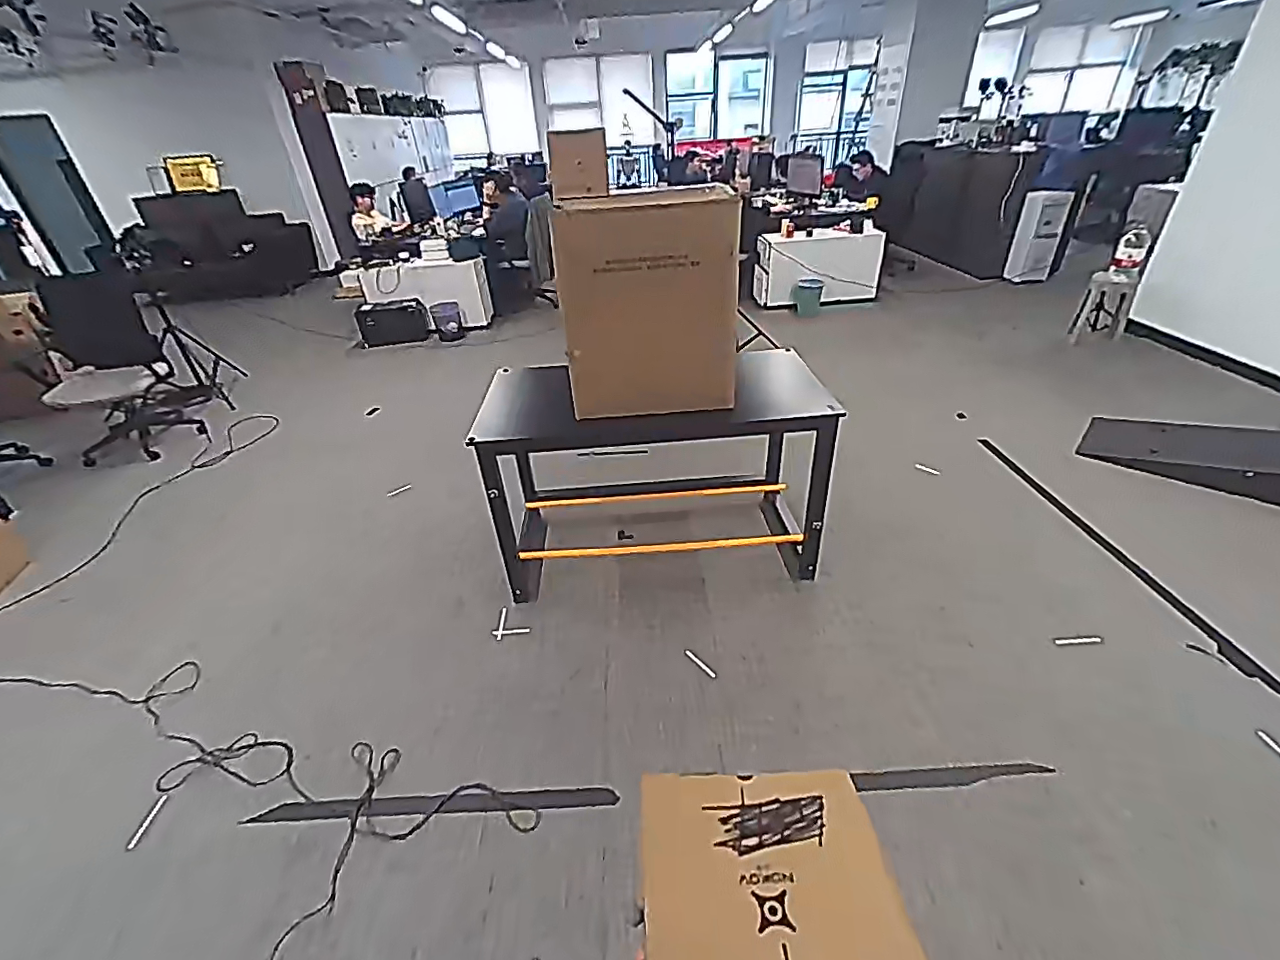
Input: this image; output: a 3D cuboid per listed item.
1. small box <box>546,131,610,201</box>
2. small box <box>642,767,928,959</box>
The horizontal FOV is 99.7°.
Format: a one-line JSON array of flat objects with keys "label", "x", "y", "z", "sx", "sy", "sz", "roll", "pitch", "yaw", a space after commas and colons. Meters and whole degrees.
[{"label": "small box", "x": -0.180, "y": -0.923, "z": 1.593, "sx": 0.168, "sy": 0.176, "sz": 0.179, "roll": -6, "pitch": 32, "yaw": -4}, {"label": "small box", "x": 0.086, "y": 0.338, "z": 0.384, "sx": 0.168, "sy": 0.176, "sz": 0.179, "roll": -1, "pitch": 26, "yaw": -1}]
